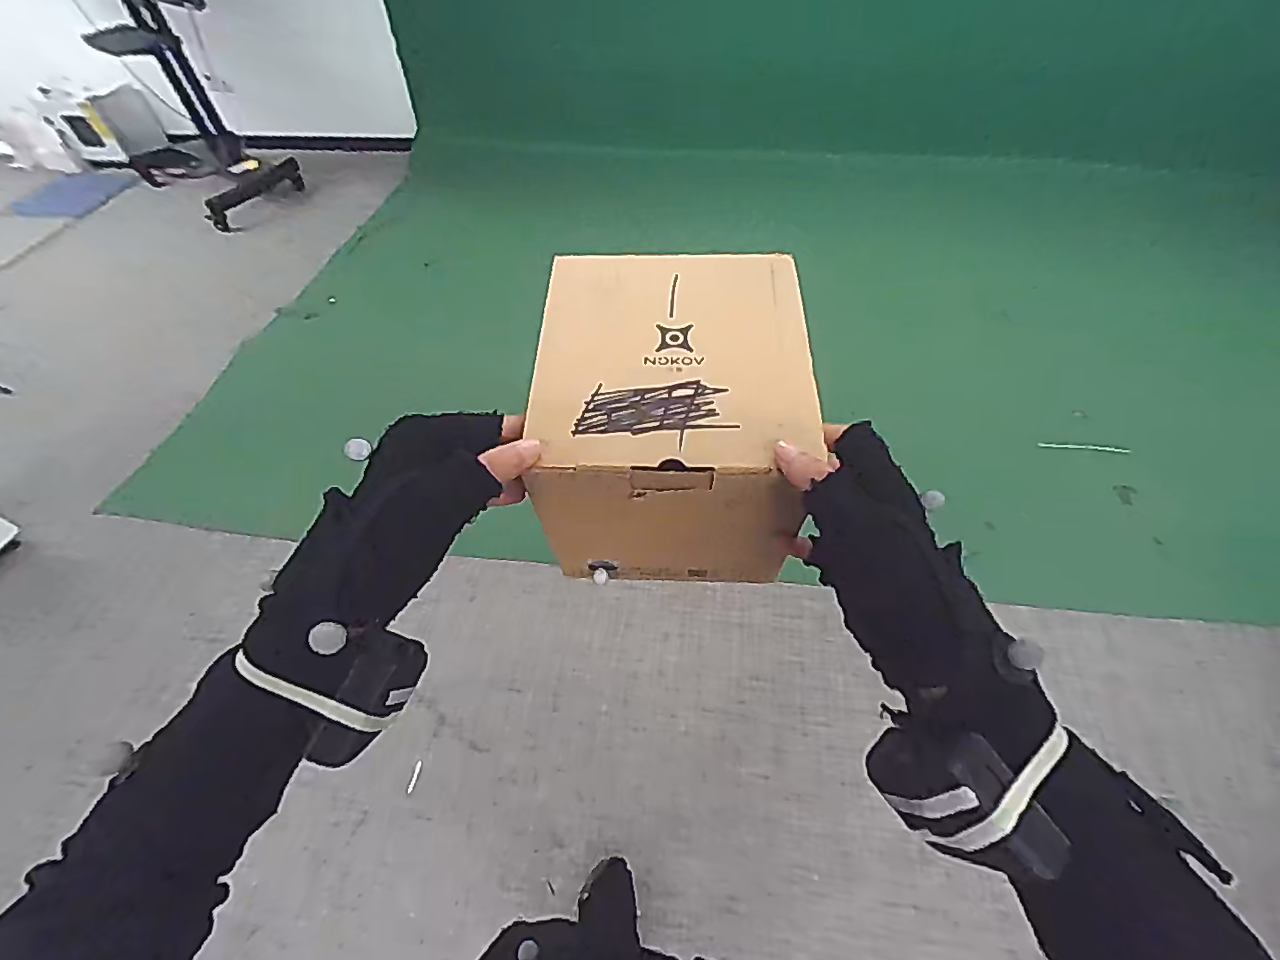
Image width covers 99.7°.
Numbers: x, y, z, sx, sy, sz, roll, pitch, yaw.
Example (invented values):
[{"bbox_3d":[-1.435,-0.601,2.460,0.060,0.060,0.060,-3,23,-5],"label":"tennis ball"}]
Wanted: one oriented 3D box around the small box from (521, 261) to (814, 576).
[{"bbox_3d":[0.022,-0.036,0.405,0.168,0.176,0.179,1,59,3],"label":"small box"}]
